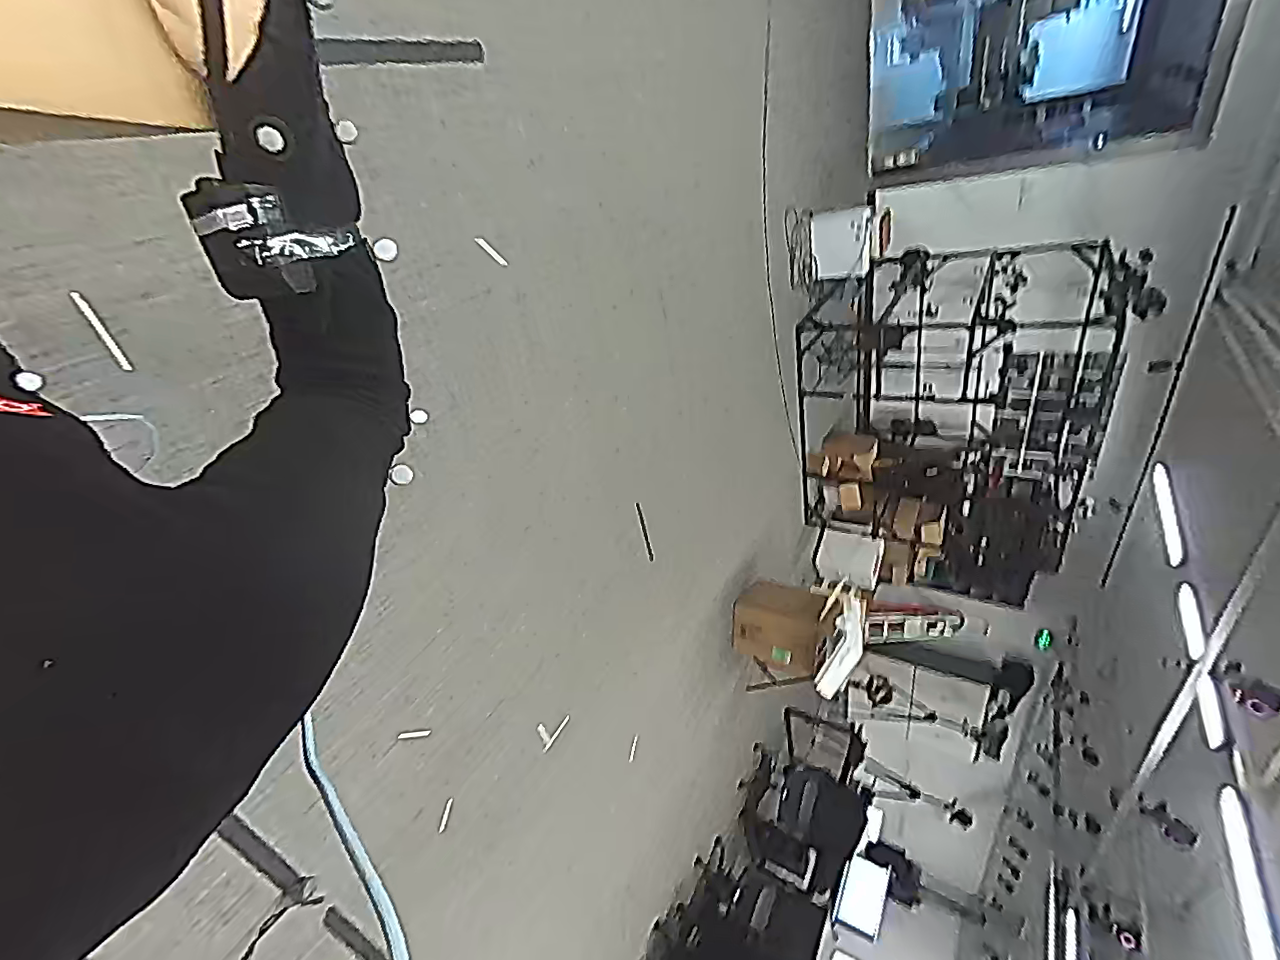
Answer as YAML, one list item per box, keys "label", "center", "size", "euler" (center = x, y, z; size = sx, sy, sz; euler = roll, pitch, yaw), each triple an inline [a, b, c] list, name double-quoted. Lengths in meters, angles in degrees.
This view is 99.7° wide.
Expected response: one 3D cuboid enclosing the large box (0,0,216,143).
- label: "large box"
  center: [-0.465, -0.295, 0.153]
  size: [0.408, 0.320, 0.320]
  euler: [-37, 137, -51]
